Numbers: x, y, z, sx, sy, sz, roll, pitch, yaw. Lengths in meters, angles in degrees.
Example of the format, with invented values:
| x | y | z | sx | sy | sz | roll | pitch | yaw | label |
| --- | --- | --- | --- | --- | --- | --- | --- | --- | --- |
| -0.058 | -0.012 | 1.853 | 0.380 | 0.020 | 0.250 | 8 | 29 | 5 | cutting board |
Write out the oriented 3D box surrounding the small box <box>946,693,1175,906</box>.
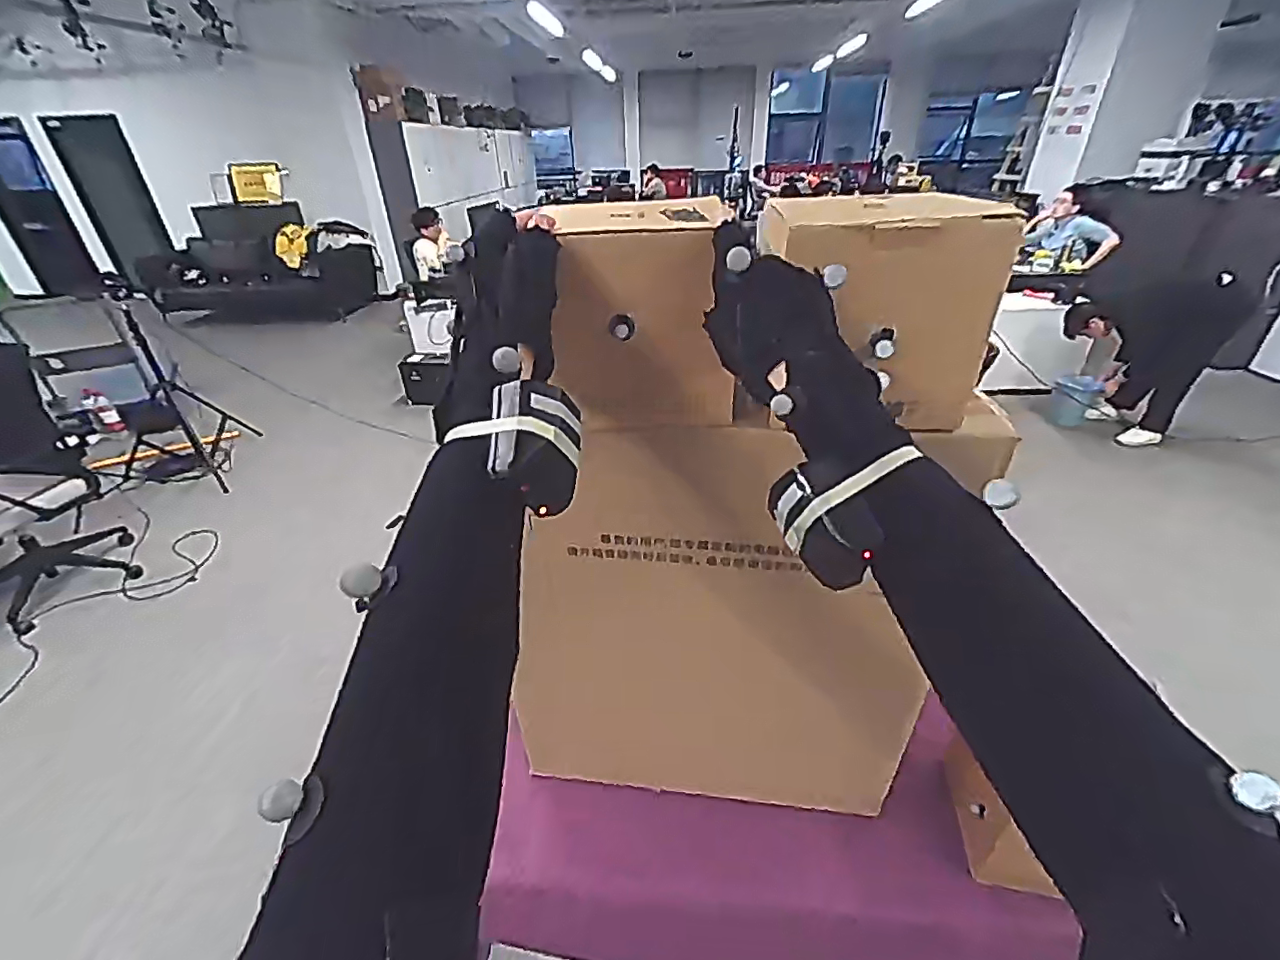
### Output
| x | y | z | sx | sy | sz | roll | pitch | yaw | label |
| --- | --- | --- | --- | --- | --- | --- | --- | --- | --- |
| 0.537 | 0.423 | 0.724 | 0.168 | 0.176 | 0.179 | 5 | 31 | 11 | small box |
